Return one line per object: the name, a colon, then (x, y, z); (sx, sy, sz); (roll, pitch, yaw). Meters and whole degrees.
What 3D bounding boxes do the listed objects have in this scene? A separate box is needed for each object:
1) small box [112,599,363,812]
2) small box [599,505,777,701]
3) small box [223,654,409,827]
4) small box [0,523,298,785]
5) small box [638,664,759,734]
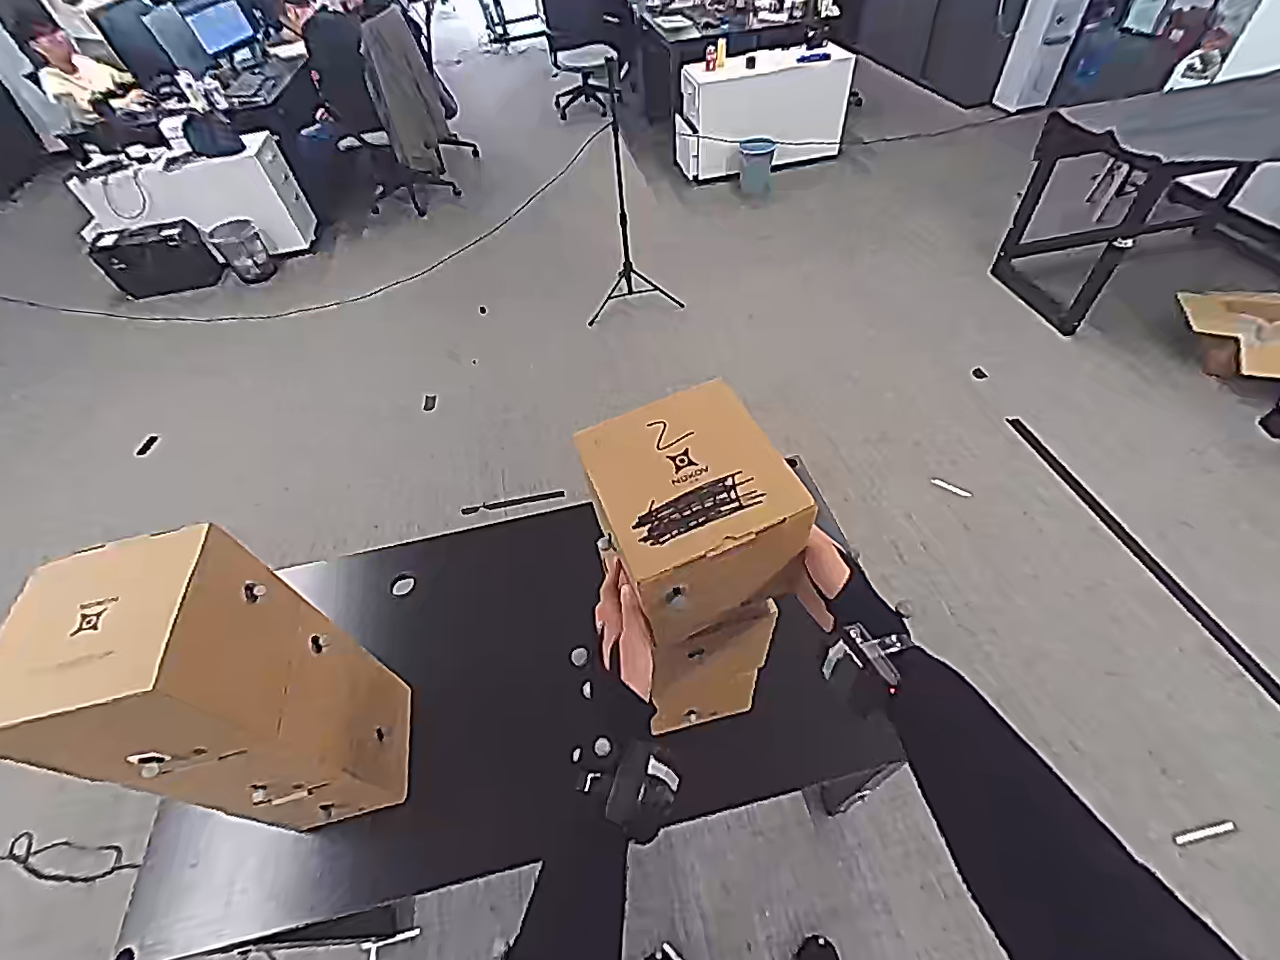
small box: (-0.464, 0.278, 0.662); (0.168, 0.176, 0.179); (-14, 51, -5)
small box: (0.058, 0.164, 0.705); (0.179, 0.176, 0.168); (-15, 51, -7)
small box: (-0.451, 0.385, 0.787); (0.168, 0.176, 0.179); (-14, 51, -6)
small box: (-0.476, 0.174, 0.537); (0.168, 0.176, 0.179); (-14, 51, -5)
small box: (0.070, 0.264, 0.835); (0.168, 0.176, 0.179); (-13, 50, -5)
